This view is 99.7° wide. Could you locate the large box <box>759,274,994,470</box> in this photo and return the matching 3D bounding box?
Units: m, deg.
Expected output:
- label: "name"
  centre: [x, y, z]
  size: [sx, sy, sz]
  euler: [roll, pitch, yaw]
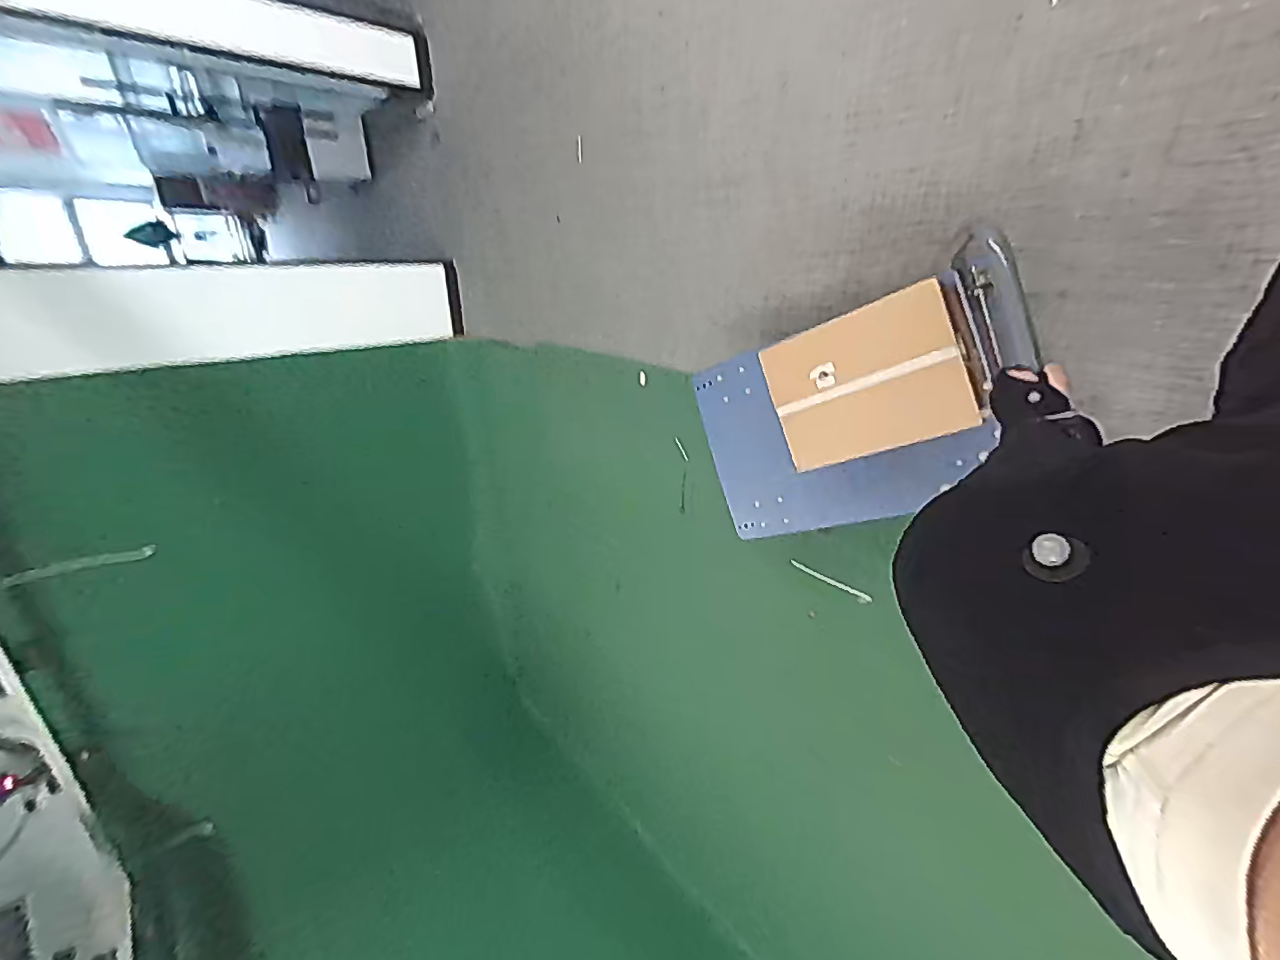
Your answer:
- label: "large box"
  centre: [0.571, -0.250, 1.307]
  size: [0.408, 0.320, 0.320]
  euler: [-18, 90, 39]
